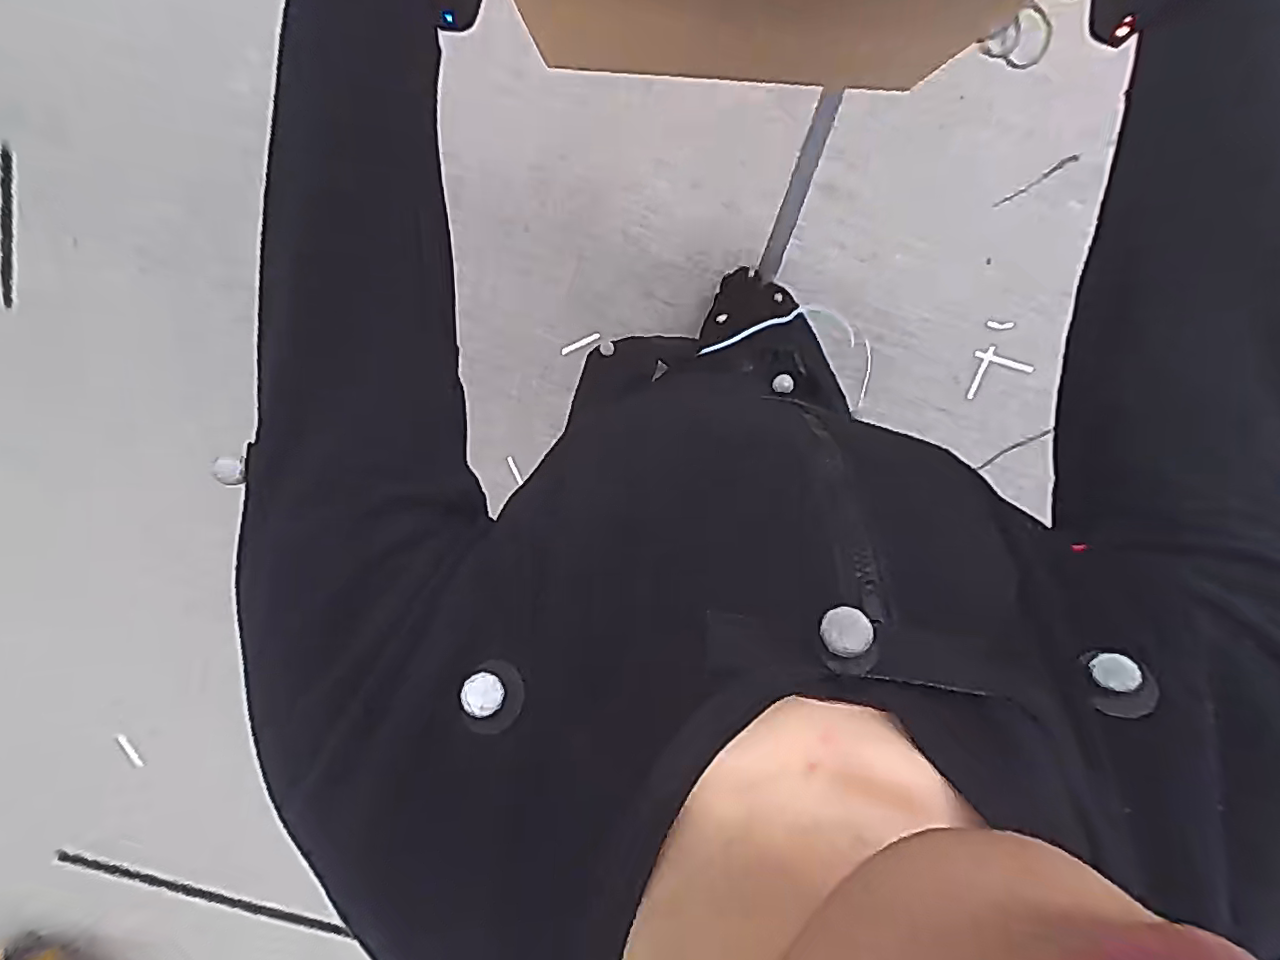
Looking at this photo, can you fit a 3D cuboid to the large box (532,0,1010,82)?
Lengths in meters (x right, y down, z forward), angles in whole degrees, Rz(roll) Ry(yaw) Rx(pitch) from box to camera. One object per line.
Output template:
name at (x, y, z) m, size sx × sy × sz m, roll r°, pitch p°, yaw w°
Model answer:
large box at (0.108, -0.542, 0.408) m, size 0.408 × 0.320 × 0.320 m, roll 4°, pitch 111°, yaw -1°
